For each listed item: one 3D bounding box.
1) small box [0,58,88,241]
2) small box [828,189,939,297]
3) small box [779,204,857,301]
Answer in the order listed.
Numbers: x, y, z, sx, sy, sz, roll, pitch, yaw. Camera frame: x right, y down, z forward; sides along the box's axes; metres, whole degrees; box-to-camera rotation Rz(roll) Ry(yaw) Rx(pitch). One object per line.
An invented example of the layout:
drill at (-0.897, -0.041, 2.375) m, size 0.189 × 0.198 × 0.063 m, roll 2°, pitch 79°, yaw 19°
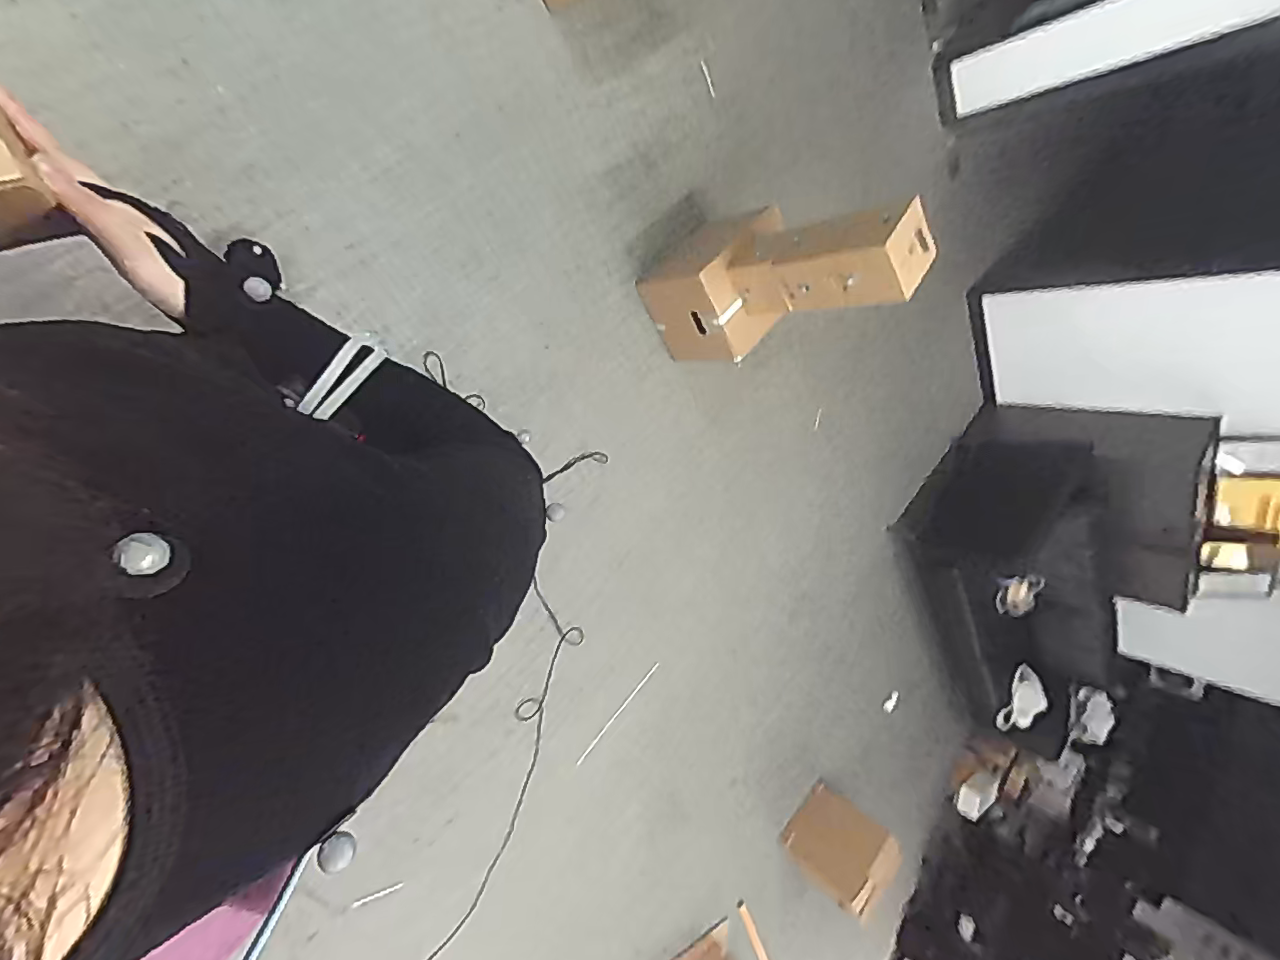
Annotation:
small box at (-0.424, -0.206, 0.254) m, size 0.168 × 0.176 × 0.179 m, roll -32°, pitch 122°, yaw -27°
small box at (0.600, -0.578, 1.339) m, size 0.168 × 0.176 × 0.179 m, roll 45°, pitch 74°, yaw -34°
small box at (0.502, -0.606, 1.469) m, size 0.179 × 0.176 × 0.168 m, roll -53°, pitch 125°, yaw -14°
